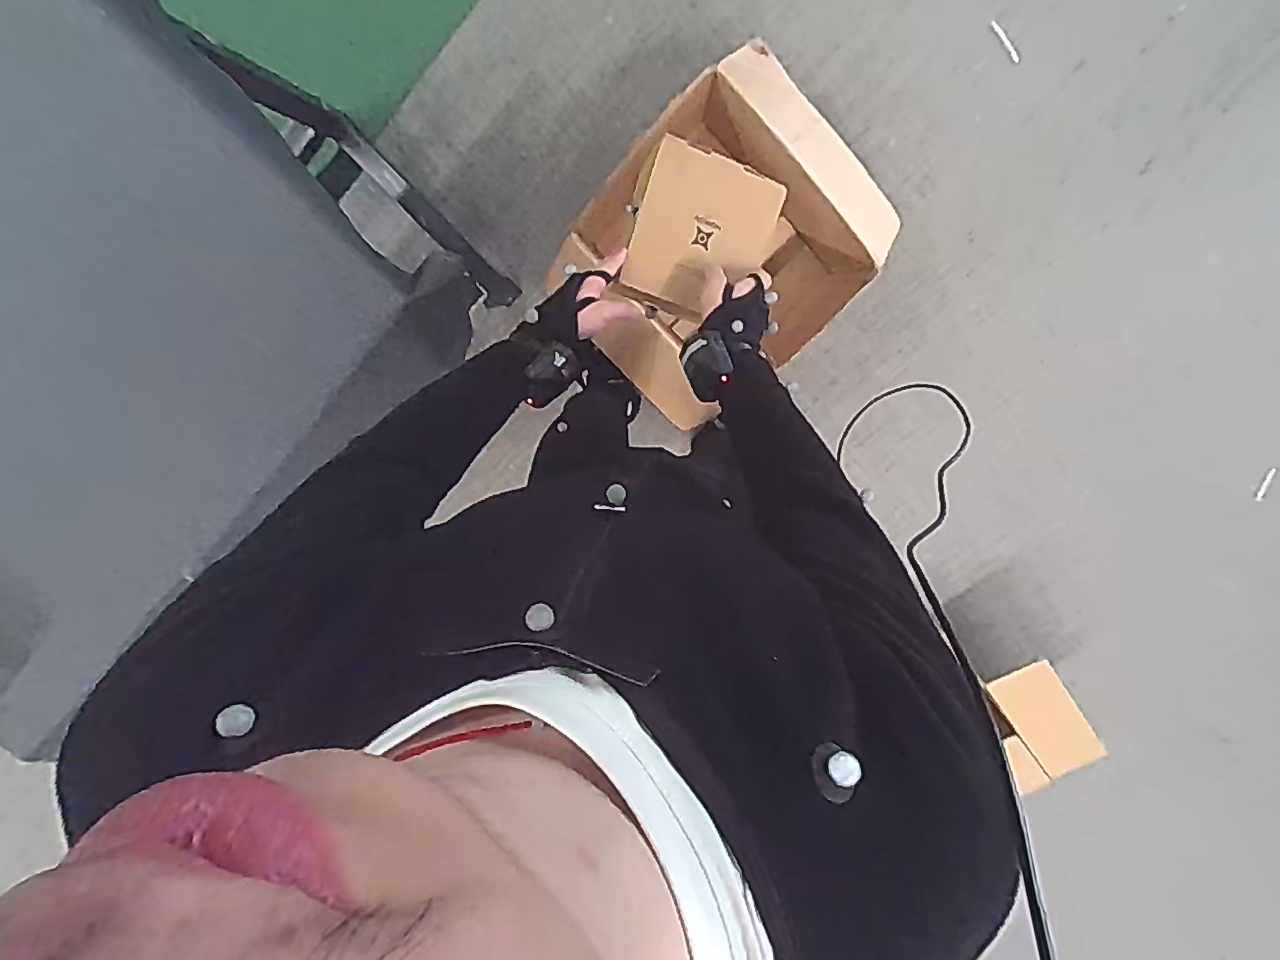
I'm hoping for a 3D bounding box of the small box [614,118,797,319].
[{"bbox_3d":[0.071,-0.323,0.707,0.168,0.176,0.179,15,105,-13],"label":"small box"}]
